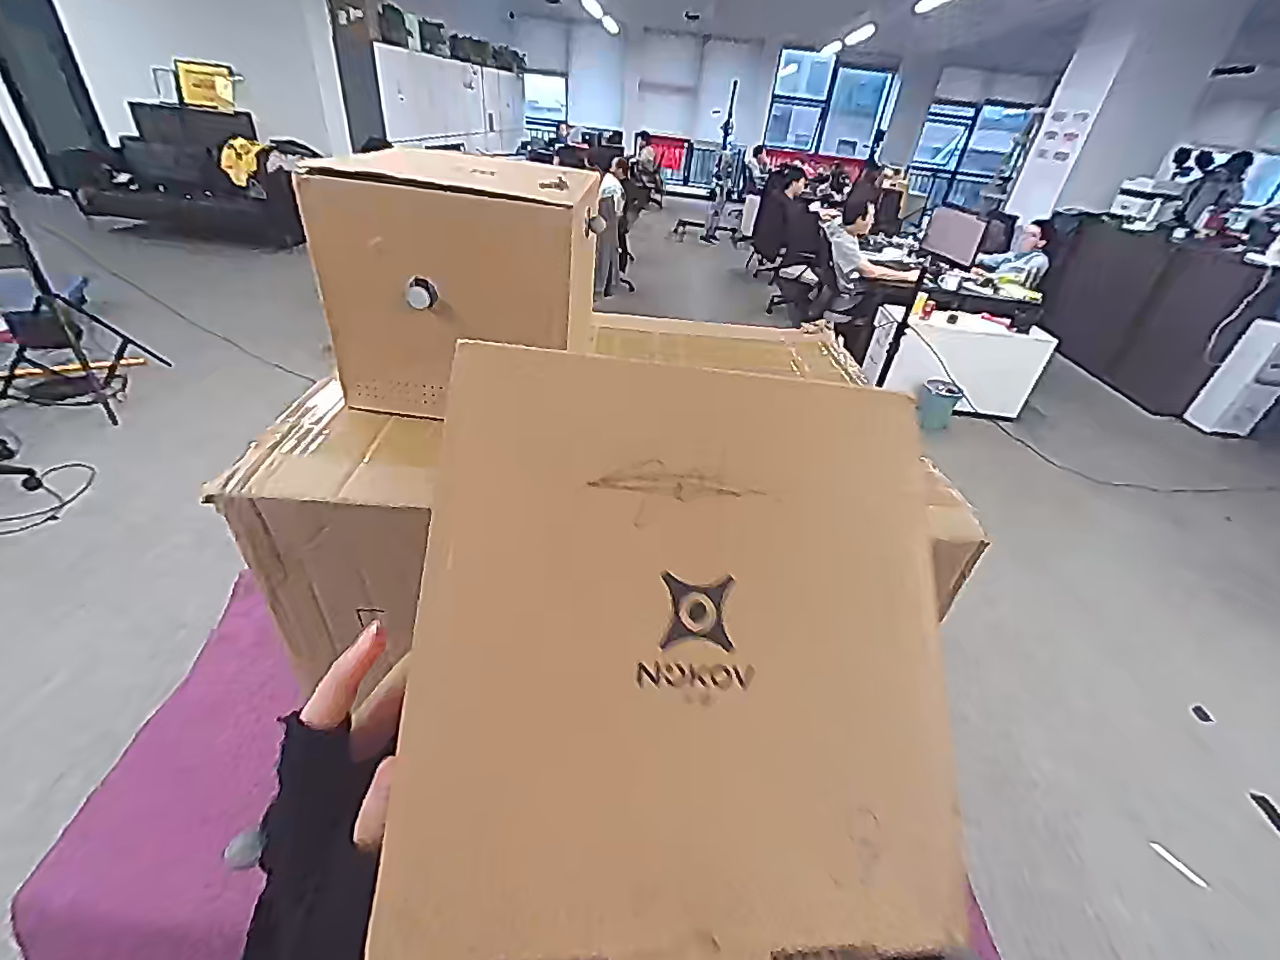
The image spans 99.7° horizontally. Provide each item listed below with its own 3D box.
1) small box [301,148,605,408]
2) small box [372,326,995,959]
[{"bbox_3d":[-0.127,-0.160,0.442,0.179,0.176,0.168,6,35,-1],"label":"small box"},{"bbox_3d":[0.007,0.062,0.235,0.168,0.176,0.179,5,73,-10],"label":"small box"}]
